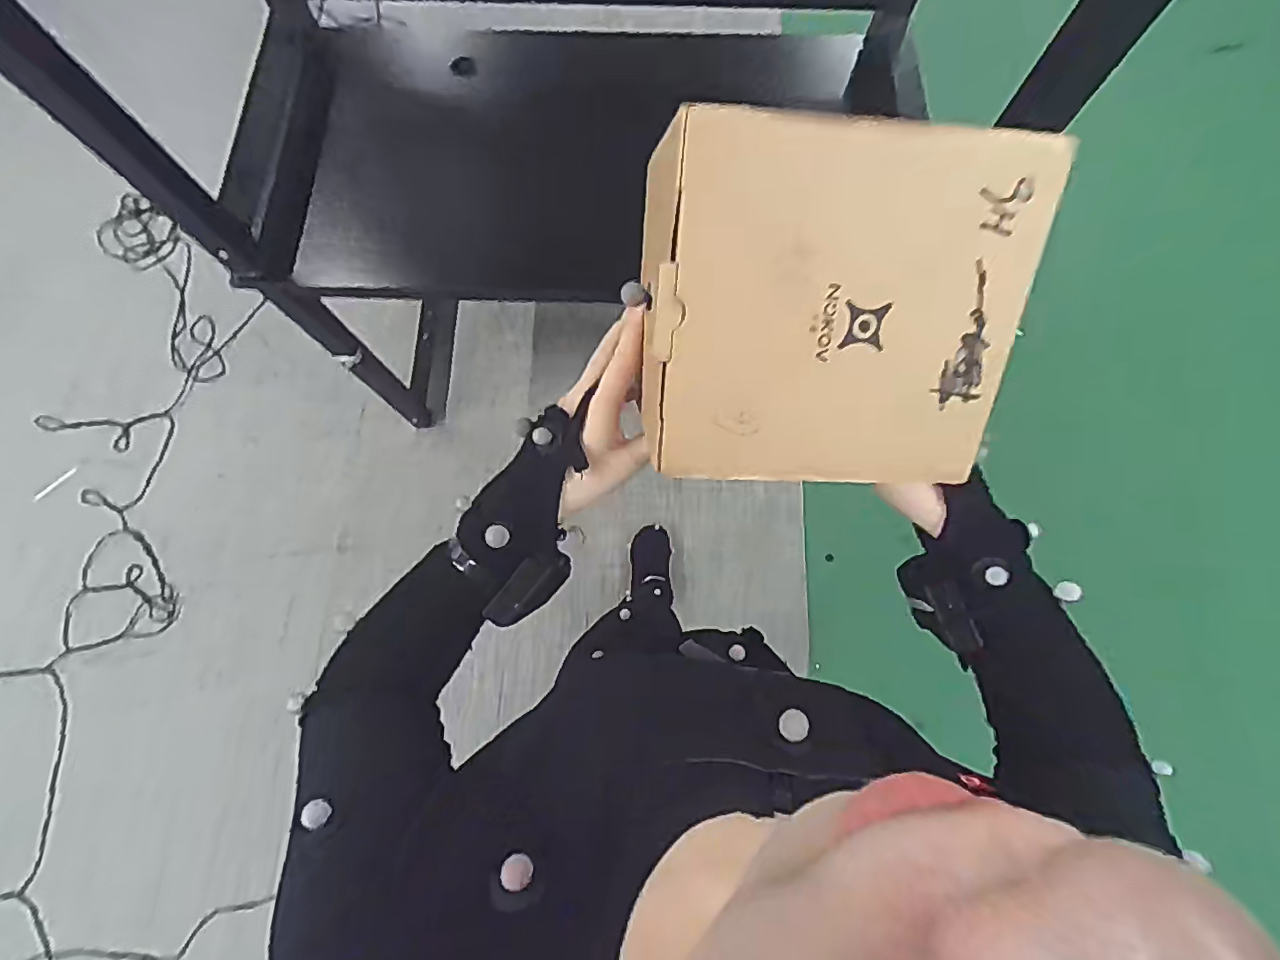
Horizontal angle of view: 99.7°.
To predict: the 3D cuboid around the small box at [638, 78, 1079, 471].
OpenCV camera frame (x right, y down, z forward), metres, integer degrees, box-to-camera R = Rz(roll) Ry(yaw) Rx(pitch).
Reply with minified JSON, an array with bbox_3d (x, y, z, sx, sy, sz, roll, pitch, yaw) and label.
[{"bbox_3d":[0.092,-0.117,0.328,0.179,0.176,0.168,2,115,-4],"label":"small box"}]
